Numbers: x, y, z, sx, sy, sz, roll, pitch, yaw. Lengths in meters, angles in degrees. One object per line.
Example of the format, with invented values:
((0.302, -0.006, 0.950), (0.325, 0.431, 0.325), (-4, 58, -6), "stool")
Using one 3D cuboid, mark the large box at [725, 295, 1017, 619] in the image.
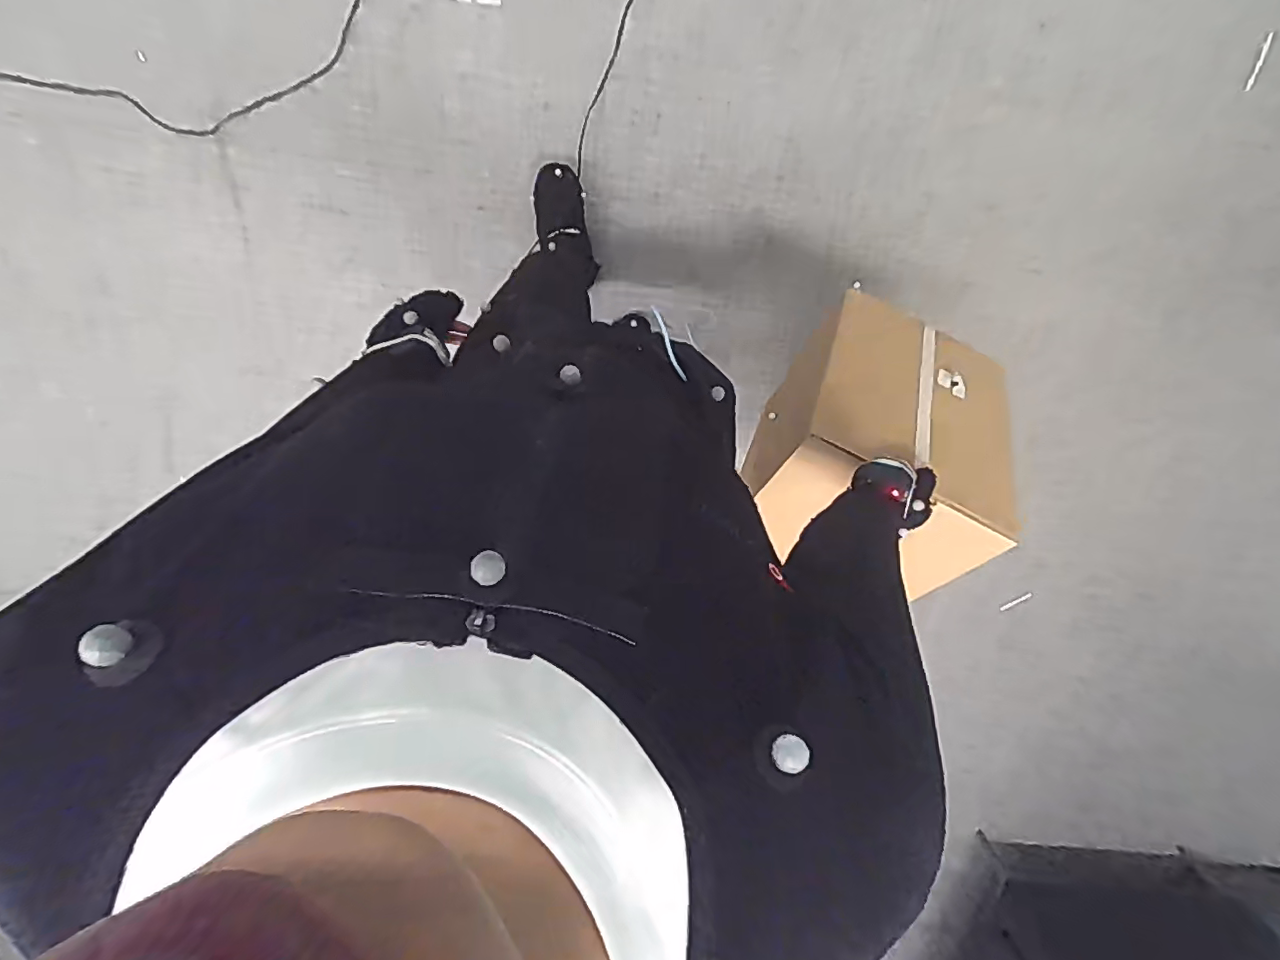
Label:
((0.386, -0.039, 0.948), (0.320, 0.408, 0.320), (28, 141, -1), "large box")
